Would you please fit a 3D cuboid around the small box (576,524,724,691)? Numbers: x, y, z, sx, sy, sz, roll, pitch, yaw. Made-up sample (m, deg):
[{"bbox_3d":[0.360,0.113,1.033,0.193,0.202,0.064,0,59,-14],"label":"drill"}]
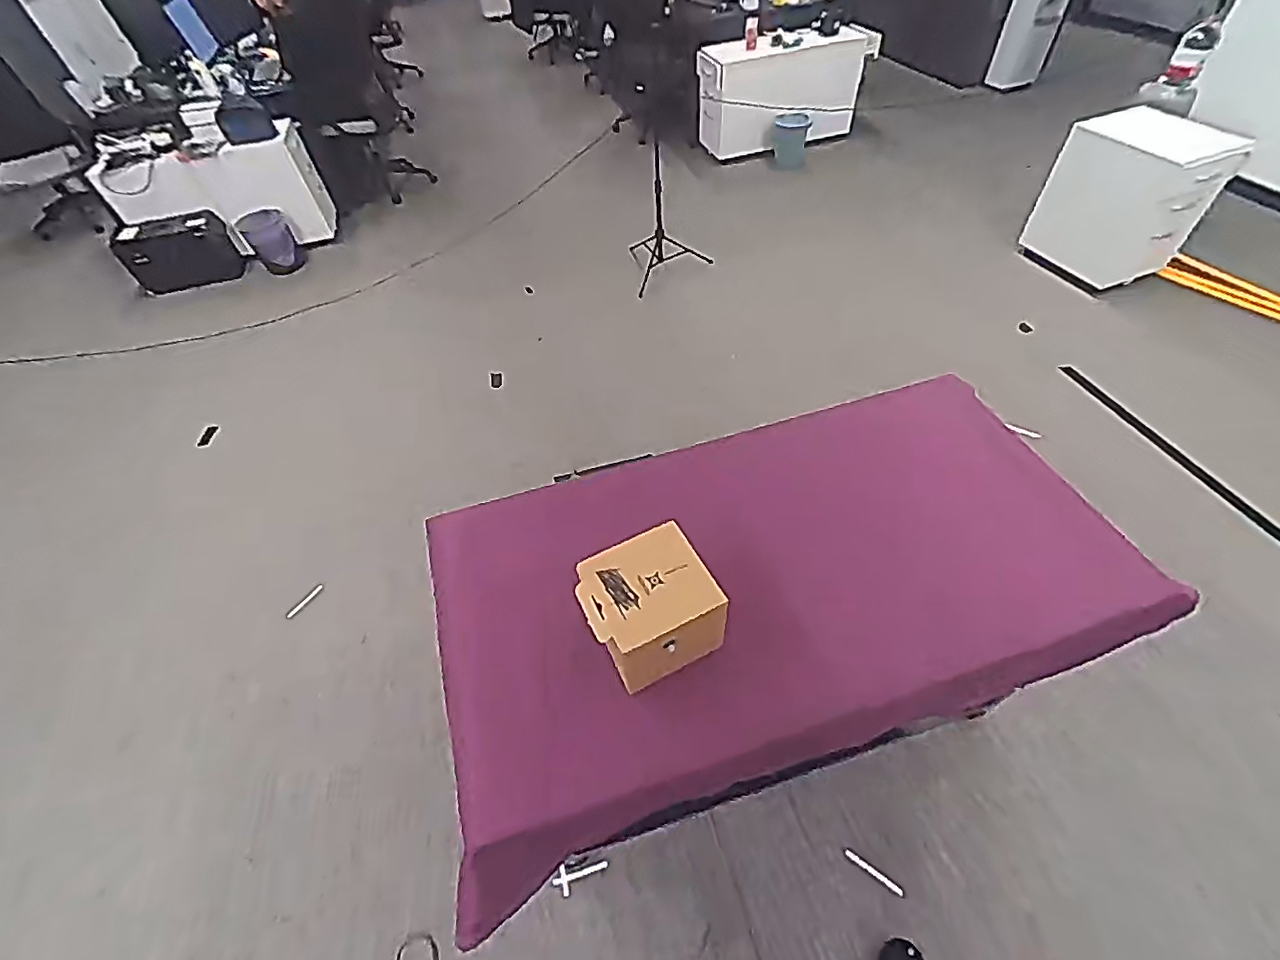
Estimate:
[{"bbox_3d":[0.018,0.208,0.869,0.179,0.176,0.168,-23,53,-14],"label":"small box"}]
